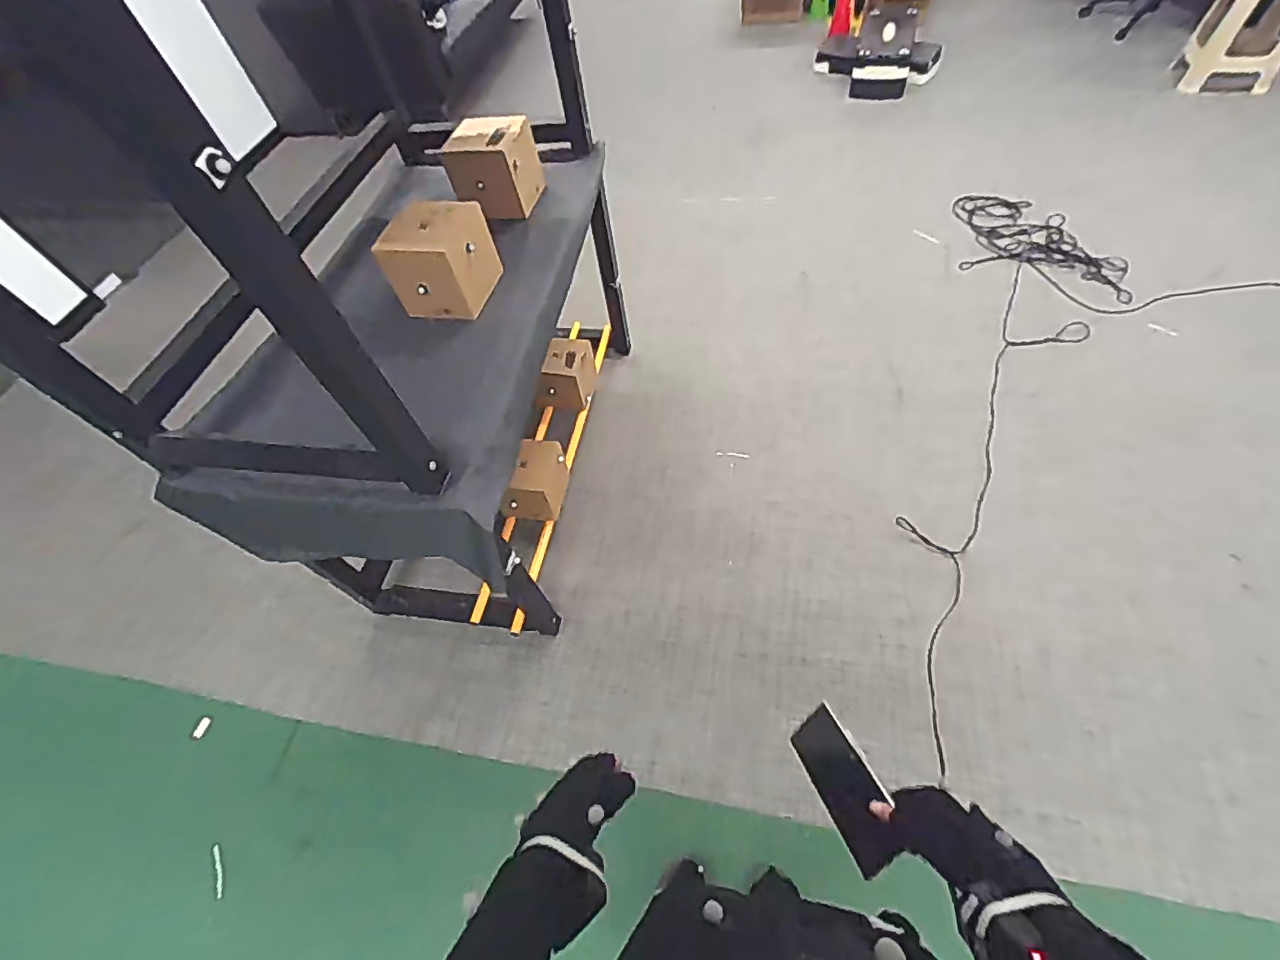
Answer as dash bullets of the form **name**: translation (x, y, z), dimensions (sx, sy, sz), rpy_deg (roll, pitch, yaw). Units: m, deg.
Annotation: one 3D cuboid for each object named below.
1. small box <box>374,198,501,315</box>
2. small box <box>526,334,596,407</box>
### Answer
- **small box**: translation (-0.420, -0.475, 1.156), dimensions (0.168, 0.176, 0.179), rpy_deg (8, 57, 12)
- **small box**: translation (-0.257, -0.364, 1.815), dimensions (0.179, 0.176, 0.168), rpy_deg (8, 57, 12)
